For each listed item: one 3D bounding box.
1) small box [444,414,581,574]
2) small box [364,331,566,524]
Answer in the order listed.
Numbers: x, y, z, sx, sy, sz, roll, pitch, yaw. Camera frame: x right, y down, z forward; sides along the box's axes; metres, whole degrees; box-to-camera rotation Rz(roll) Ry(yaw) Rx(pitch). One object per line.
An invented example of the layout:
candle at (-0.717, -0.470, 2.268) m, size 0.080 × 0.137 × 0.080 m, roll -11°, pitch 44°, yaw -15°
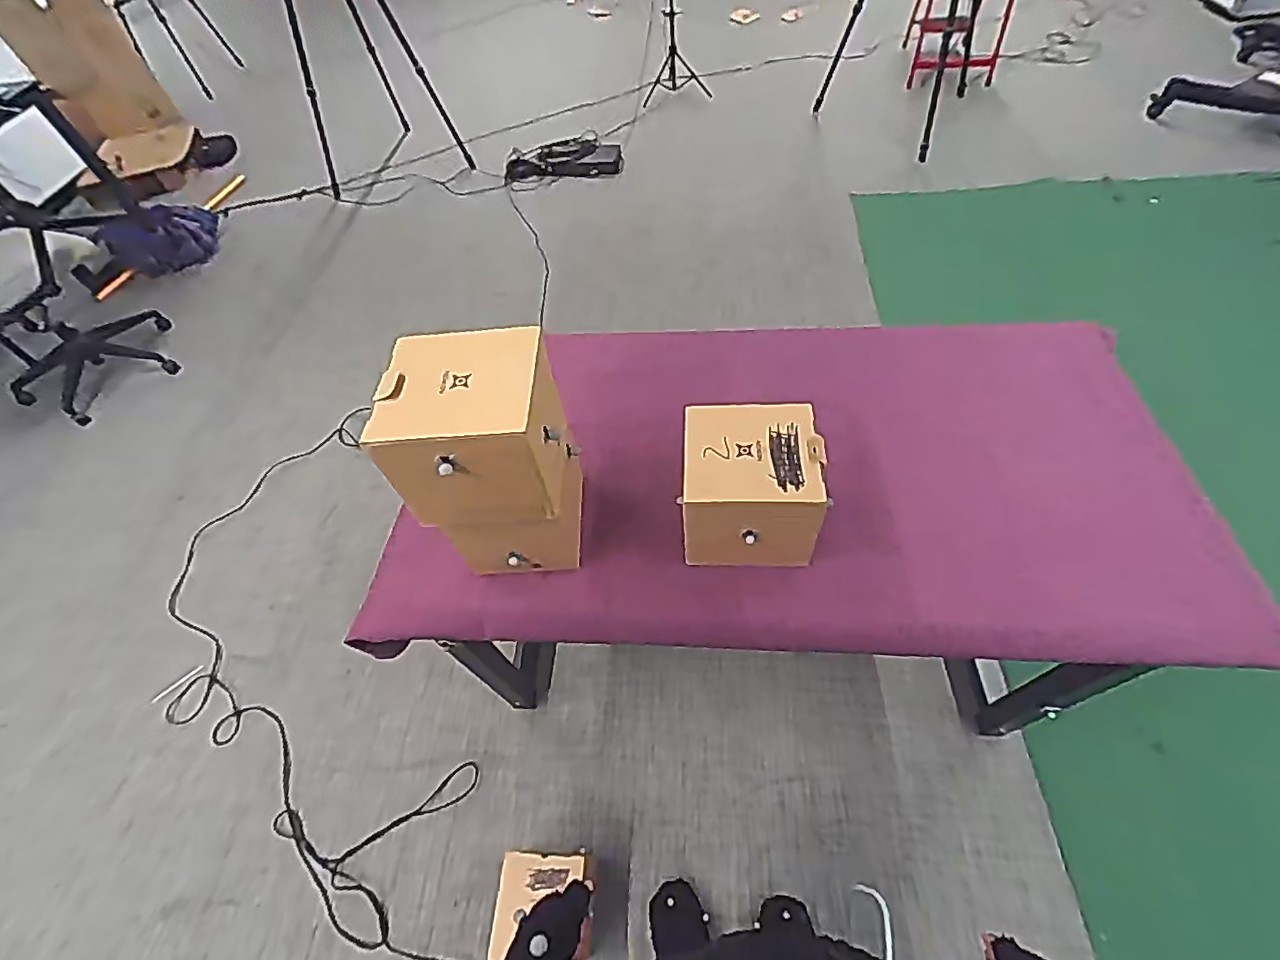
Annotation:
small box at (-0.183, 0.022, 0.801) m, size 0.168 × 0.176 × 0.179 m, roll -3°, pitch 54°, yaw 3°
small box at (-0.191, -0.058, 0.658) m, size 0.179 × 0.176 × 0.168 m, roll -3°, pitch 55°, yaw 3°
